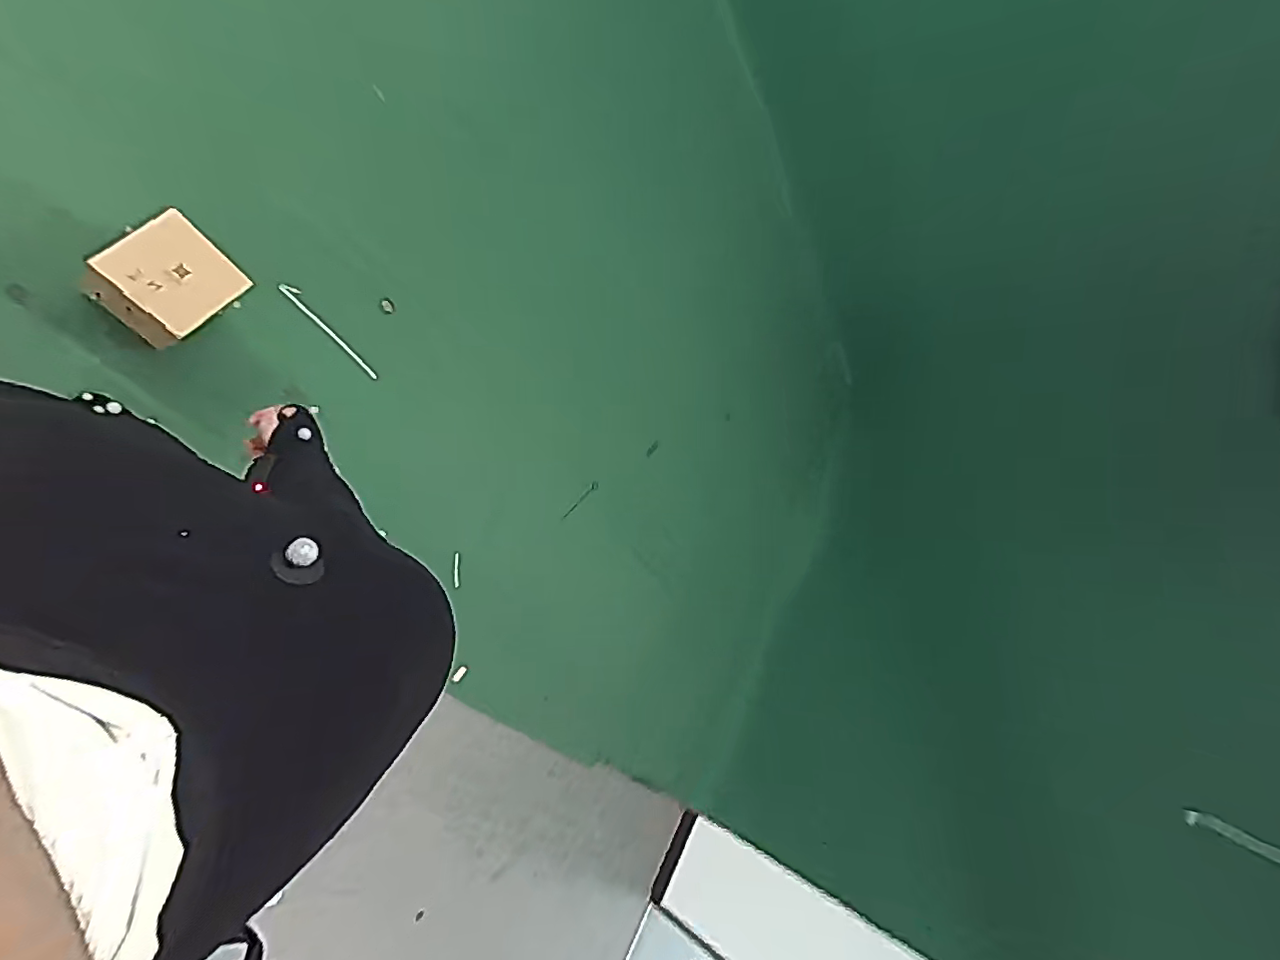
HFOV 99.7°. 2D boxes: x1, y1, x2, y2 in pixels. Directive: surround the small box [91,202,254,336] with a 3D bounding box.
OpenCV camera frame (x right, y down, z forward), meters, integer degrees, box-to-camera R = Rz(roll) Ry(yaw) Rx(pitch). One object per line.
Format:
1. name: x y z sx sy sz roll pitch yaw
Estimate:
1. small box: -0.908 -0.401 1.049 0.179 0.176 0.168 -56 131 -25
